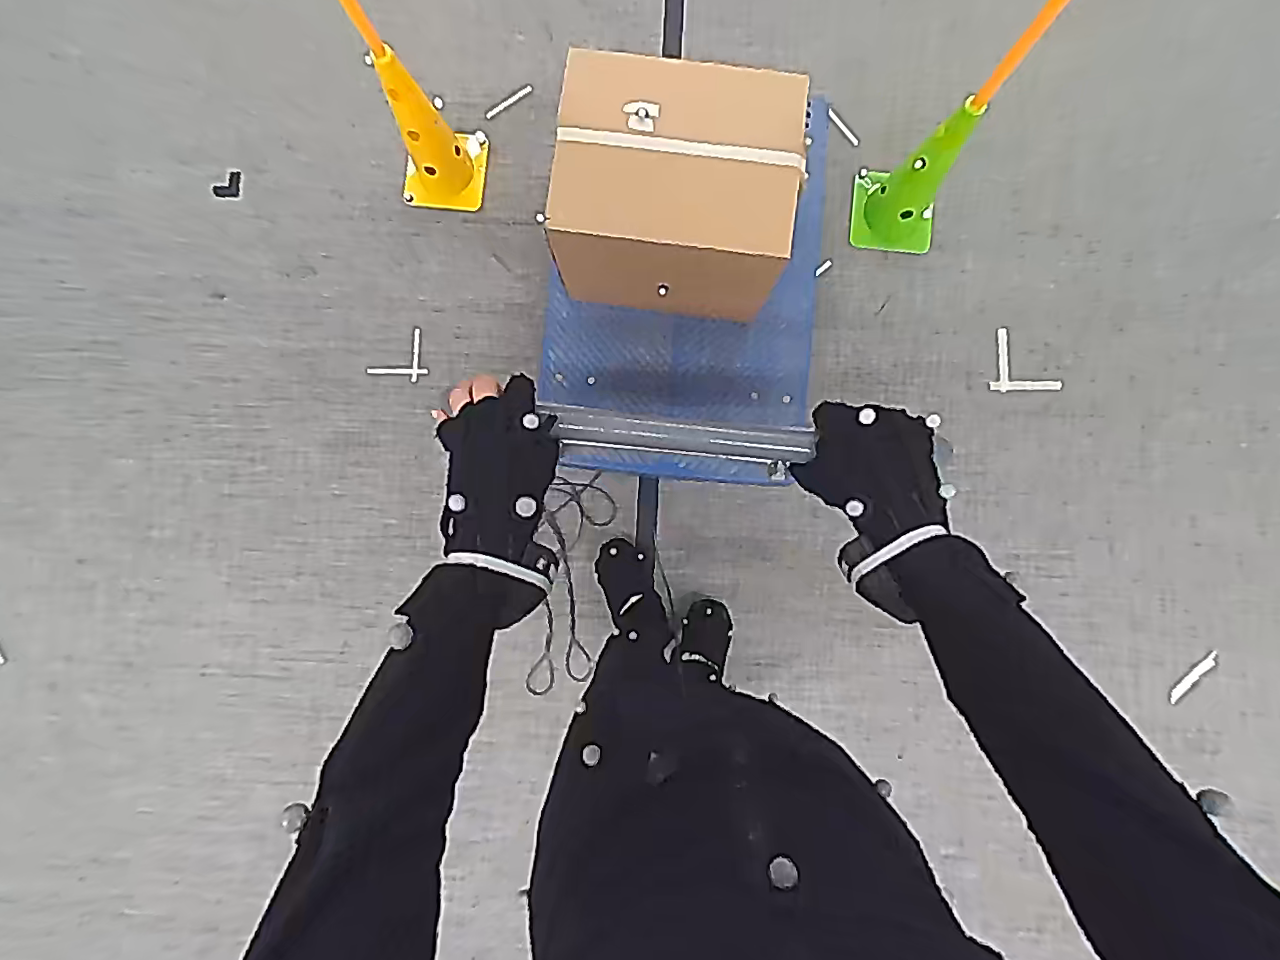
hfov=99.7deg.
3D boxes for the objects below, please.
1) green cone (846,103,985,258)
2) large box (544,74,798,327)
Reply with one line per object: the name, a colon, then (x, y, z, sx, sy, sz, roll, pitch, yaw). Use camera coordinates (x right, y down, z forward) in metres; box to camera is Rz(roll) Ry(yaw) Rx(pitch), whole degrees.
green cone: (0.627, -0.678, 1.198, 0.202, 0.368, 0.200, 6, 86, 0)
large box: (0.059, -0.510, 1.052, 0.408, 0.320, 0.320, 7, 86, 2)
